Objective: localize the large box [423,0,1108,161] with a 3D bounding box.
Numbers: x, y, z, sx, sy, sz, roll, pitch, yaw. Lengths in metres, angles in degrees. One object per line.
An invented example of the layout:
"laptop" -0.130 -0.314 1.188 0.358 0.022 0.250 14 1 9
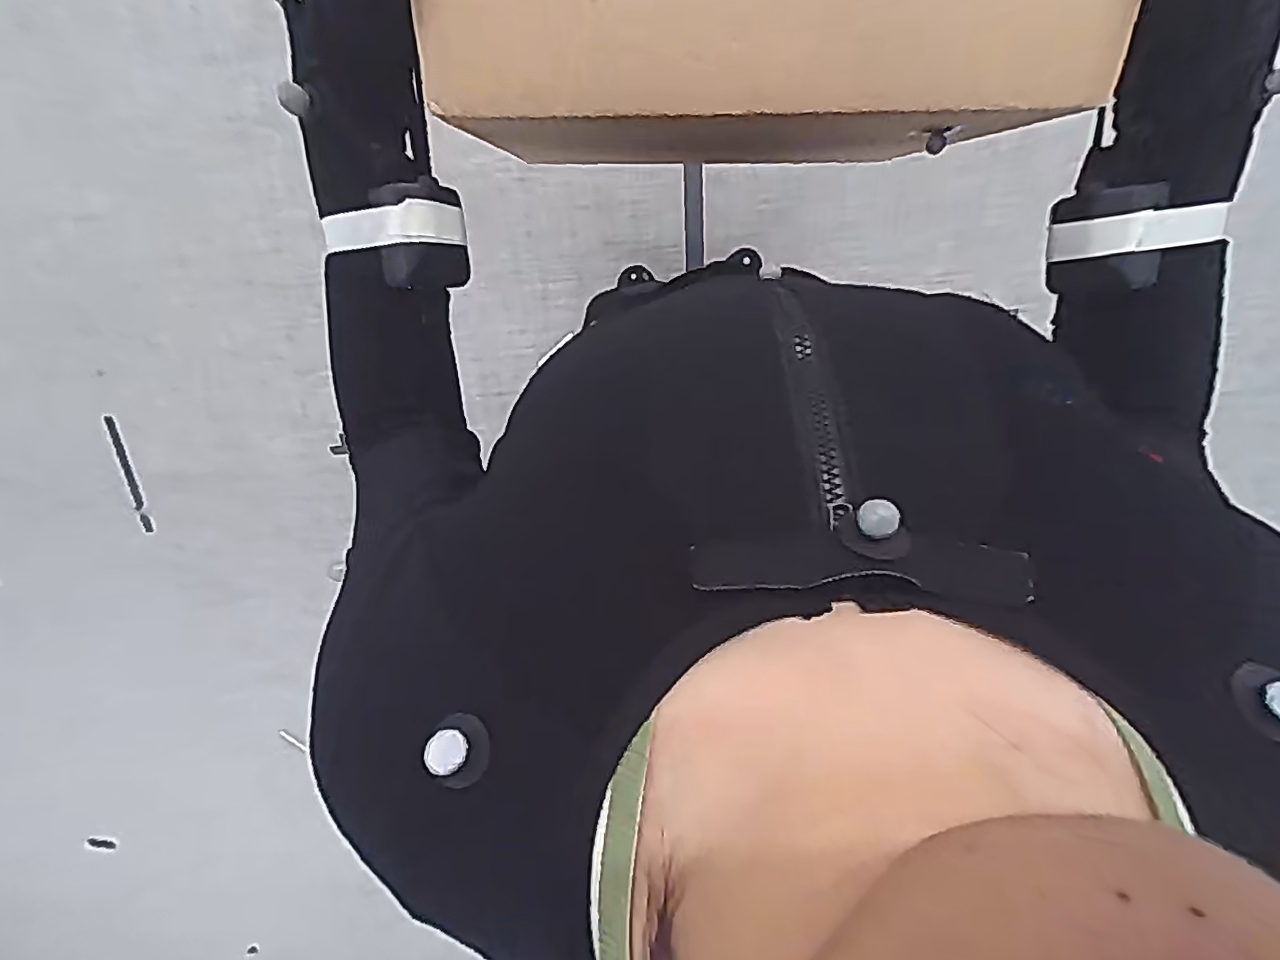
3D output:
"large box" 0.071 -0.428 0.400 0.408 0.320 0.320 -1 116 -1

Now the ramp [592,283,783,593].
"ramp" 0.155 -0.054 1.614 0.509 0.206 0.991 -5 110 2
